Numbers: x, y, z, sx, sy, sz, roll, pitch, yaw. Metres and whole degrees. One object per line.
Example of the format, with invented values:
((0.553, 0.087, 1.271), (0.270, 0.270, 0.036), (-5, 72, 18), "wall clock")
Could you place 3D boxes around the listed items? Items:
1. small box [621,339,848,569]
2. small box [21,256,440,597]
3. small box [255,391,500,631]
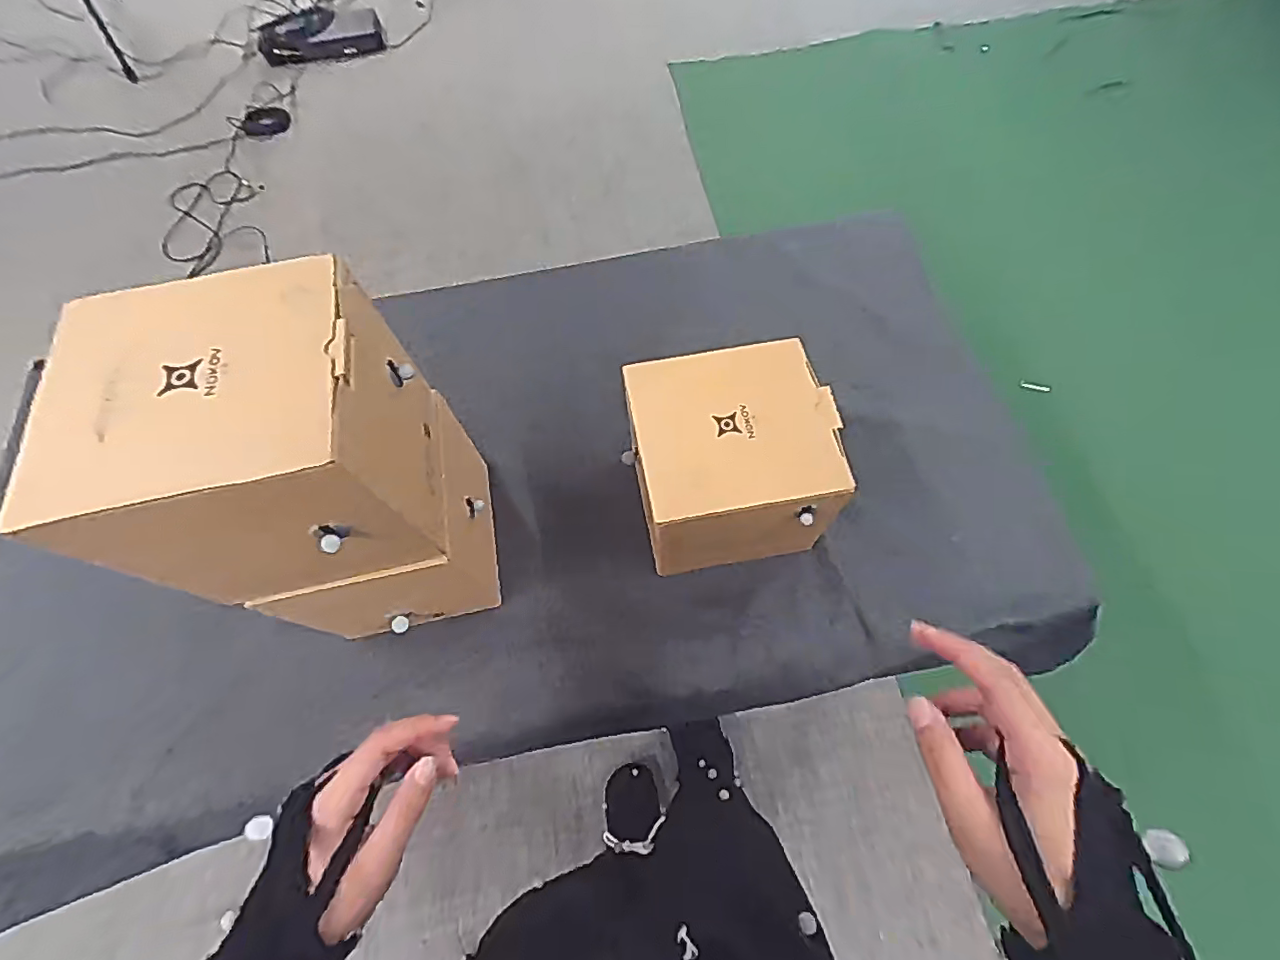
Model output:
((0.083, -0.018, 0.564), (0.179, 0.176, 0.168), (-10, 65, -3), "small box")
((-0.260, -0.027, 0.398), (0.179, 0.176, 0.168), (-13, 64, -3), "small box")
((-0.249, 0.039, 0.547), (0.168, 0.176, 0.179), (-12, 66, -3), "small box")
